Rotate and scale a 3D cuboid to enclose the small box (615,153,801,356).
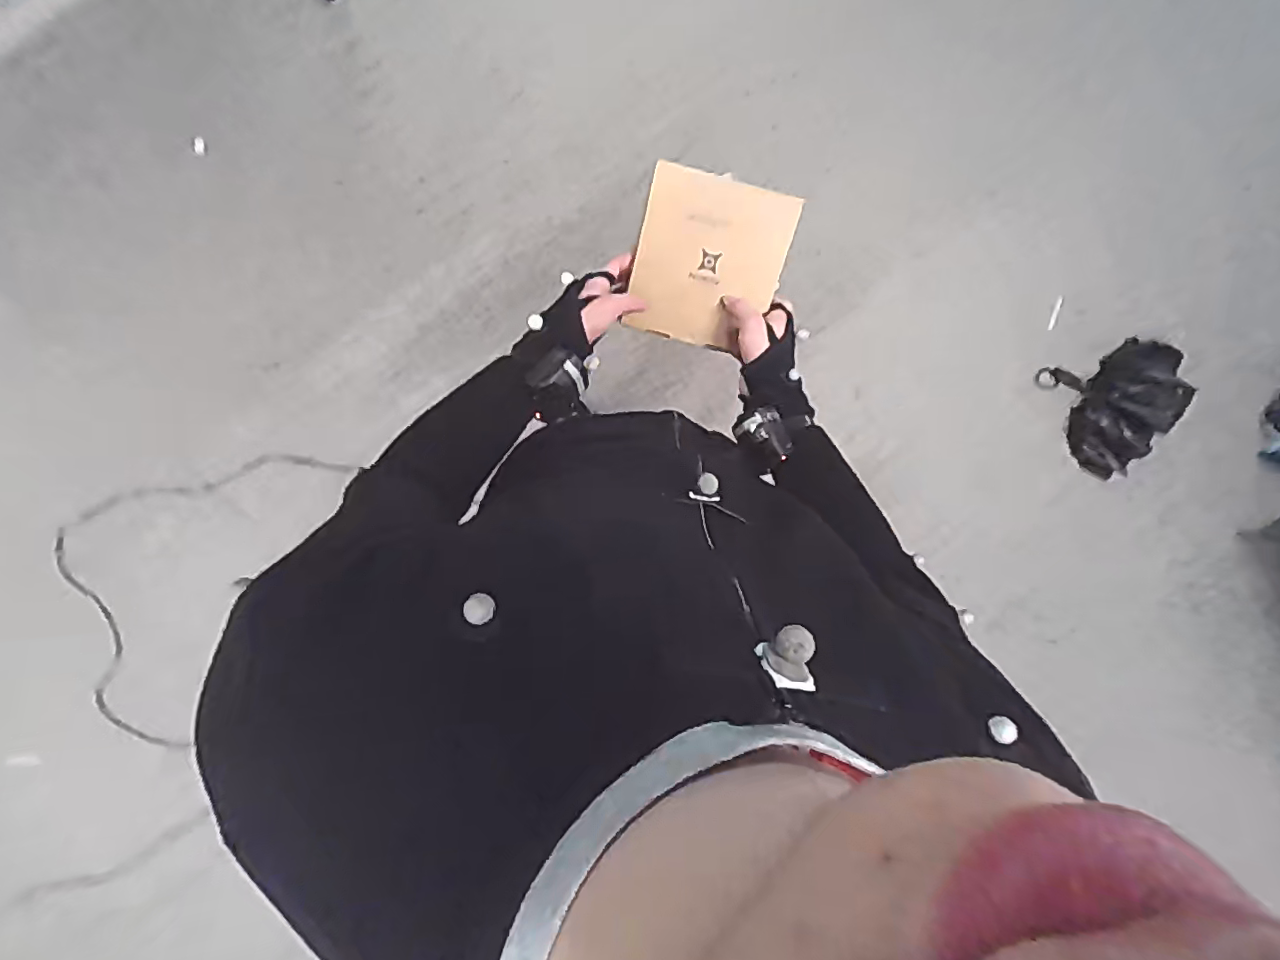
[{"bbox_3d":[0.069,-0.270,0.657,0.168,0.176,0.179,11,114,-7],"label":"small box"}]
